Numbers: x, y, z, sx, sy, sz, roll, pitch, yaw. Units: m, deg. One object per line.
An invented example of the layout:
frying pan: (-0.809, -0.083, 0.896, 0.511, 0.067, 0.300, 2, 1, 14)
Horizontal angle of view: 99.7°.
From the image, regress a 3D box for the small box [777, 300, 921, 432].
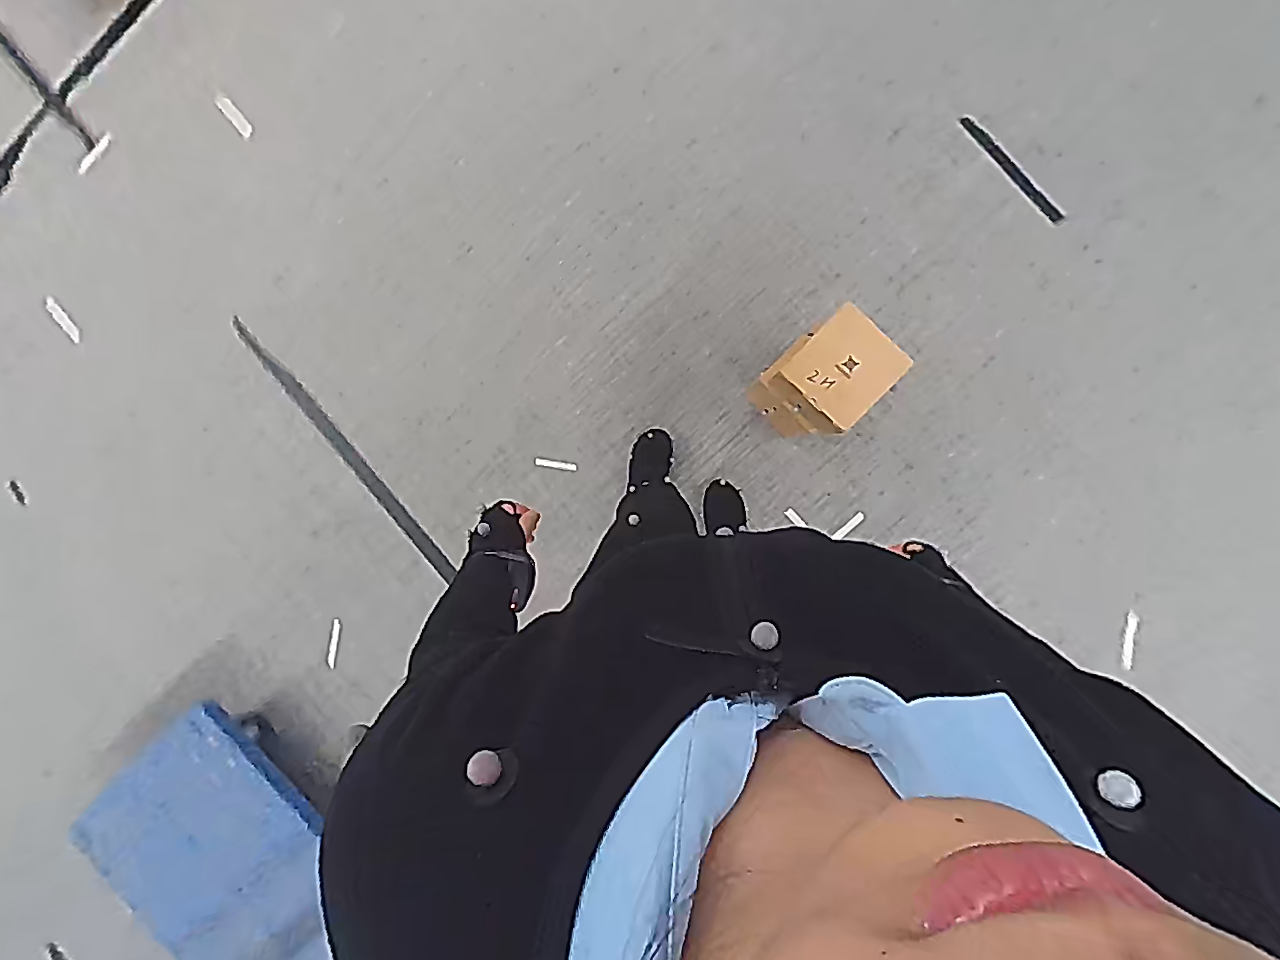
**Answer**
small box: (0.387, -0.210, 1.042, 0.168, 0.176, 0.179, 44, 97, 2)

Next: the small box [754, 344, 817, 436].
small box: (0.409, -0.227, 1.370, 0.179, 0.176, 0.168, -42, 89, 6)
